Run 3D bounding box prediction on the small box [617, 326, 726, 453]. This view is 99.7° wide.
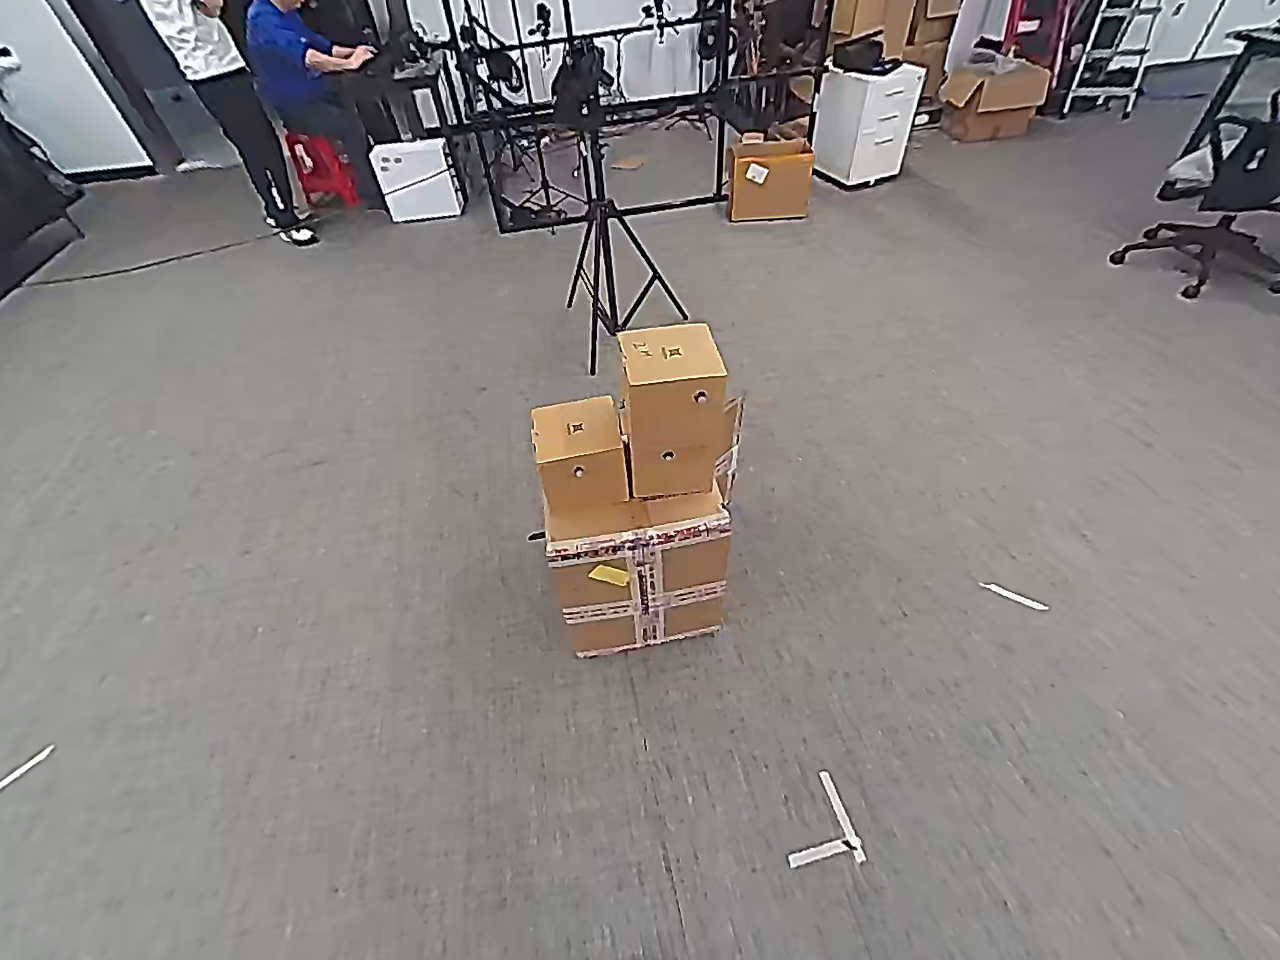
[{"bbox_3d":[0.054,-0.171,1.032,0.179,0.176,0.168,-8,48,-5],"label":"small box"}]

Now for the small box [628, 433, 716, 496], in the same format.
[{"bbox_3d":[0.061,-0.080,1.172,0.179,0.176,0.168,-5,48,-2],"label":"small box"}]
